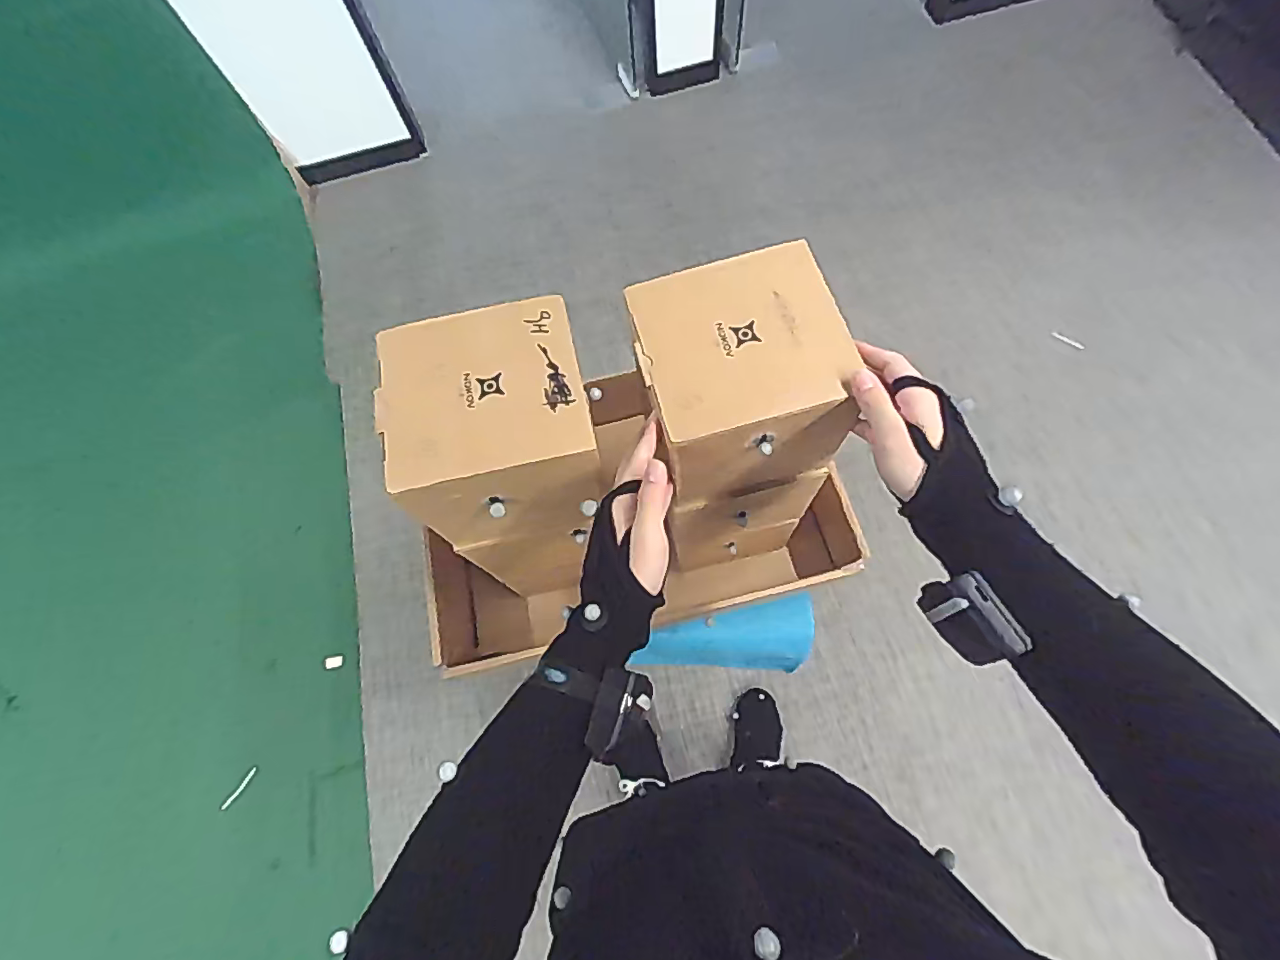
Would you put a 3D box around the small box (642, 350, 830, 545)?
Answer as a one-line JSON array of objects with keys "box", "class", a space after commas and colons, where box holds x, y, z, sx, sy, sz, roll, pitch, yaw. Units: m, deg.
[{"box": [0.112, -0.031, 0.681, 0.179, 0.176, 0.168, -15, 68, 2], "class": "small box"}]

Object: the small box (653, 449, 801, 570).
[{"box": [0.129, 0.030, 0.832, 0.179, 0.176, 0.168, -14, 68, 2], "class": "small box"}]

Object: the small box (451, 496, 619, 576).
[{"box": [-0.131, 0.013, 0.690, 0.179, 0.176, 0.168, -13, 68, -4], "class": "small box"}]

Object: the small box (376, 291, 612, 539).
[{"box": [-0.135, -0.052, 0.538, 0.179, 0.176, 0.168, -13, 69, -2], "class": "small box"}]
